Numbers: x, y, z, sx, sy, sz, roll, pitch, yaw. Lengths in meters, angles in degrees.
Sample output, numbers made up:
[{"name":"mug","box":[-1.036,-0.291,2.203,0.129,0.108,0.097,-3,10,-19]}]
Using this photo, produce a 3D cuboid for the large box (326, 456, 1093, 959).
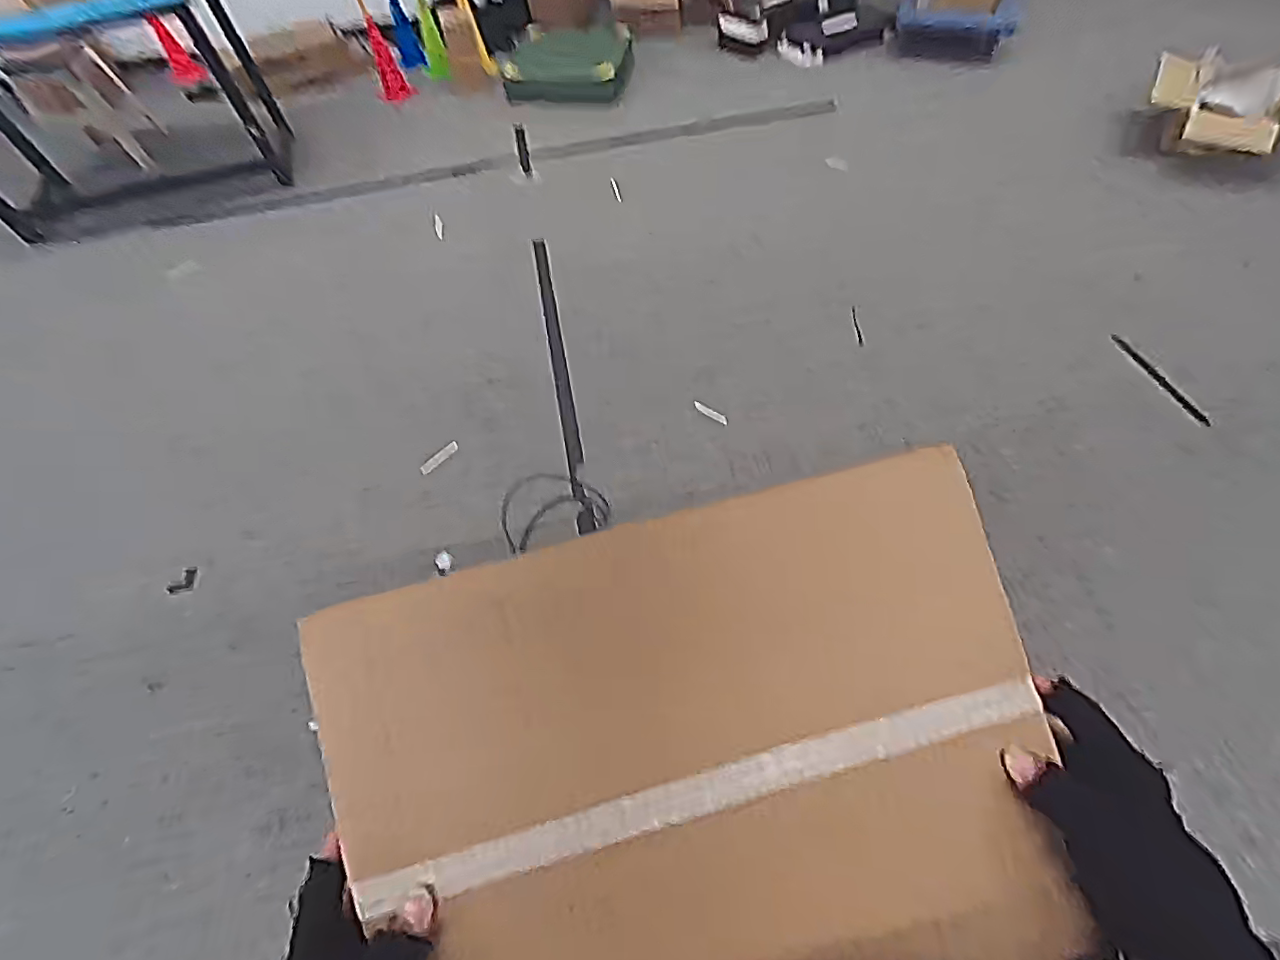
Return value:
[{"name":"large box","box":[0.034,0.199,0.469,0.408,0.320,0.320,-15,86,-4]}]
